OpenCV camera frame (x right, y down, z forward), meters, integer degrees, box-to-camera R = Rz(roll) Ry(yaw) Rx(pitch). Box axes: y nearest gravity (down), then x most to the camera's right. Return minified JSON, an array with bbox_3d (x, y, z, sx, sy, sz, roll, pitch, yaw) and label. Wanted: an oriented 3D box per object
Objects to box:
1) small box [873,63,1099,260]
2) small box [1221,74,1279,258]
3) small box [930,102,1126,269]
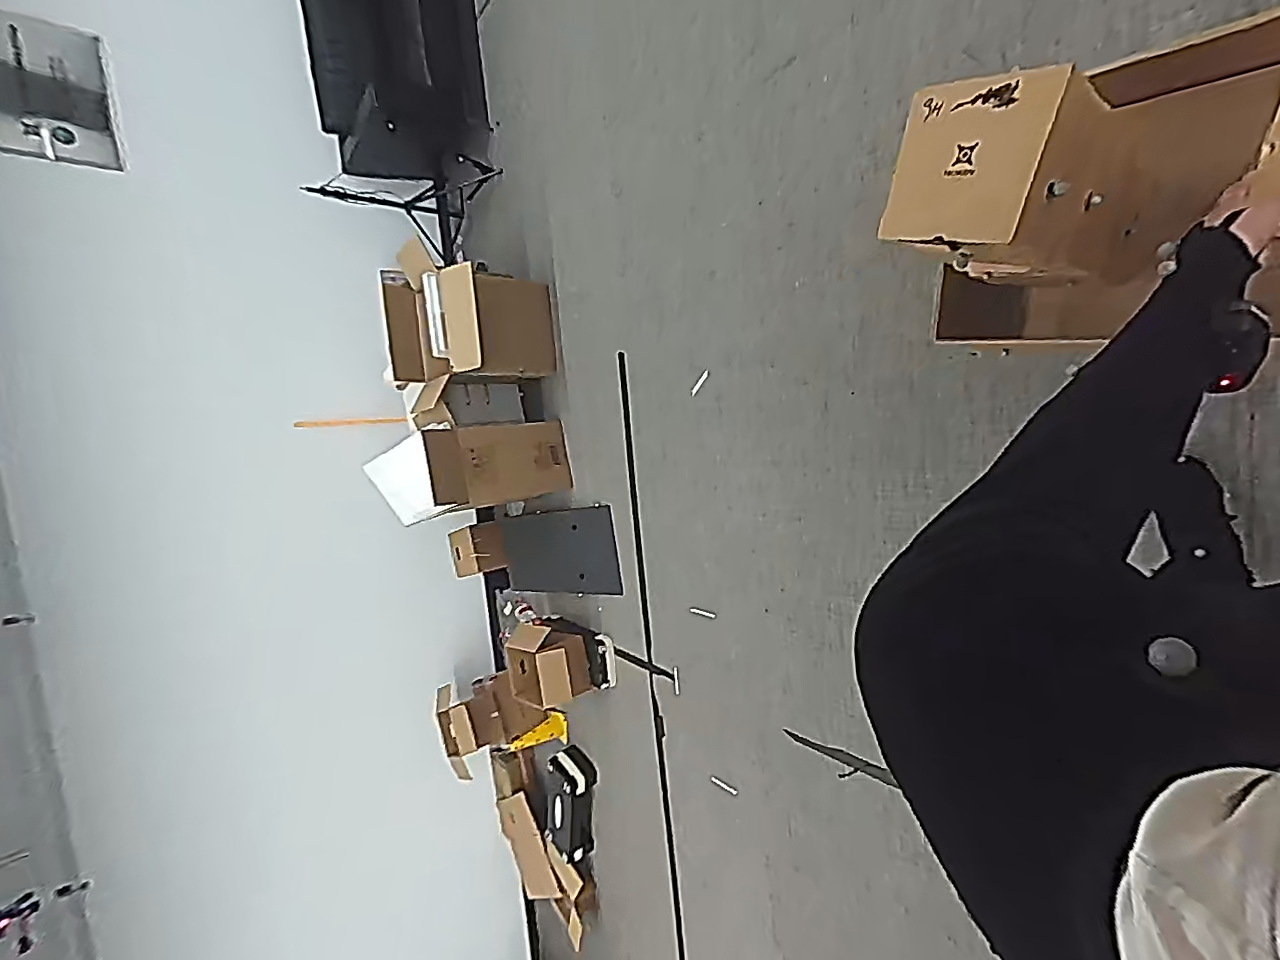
[{"bbox_3d":[0.433,-0.382,0.680,0.168,0.176,0.179,31,120,44],"label":"small box"},{"bbox_3d":[0.730,-0.318,0.531,0.179,0.176,0.168,23,113,46],"label":"small box"},{"bbox_3d":[0.560,-0.407,0.782,0.168,0.176,0.179,26,116,47],"label":"small box"}]
